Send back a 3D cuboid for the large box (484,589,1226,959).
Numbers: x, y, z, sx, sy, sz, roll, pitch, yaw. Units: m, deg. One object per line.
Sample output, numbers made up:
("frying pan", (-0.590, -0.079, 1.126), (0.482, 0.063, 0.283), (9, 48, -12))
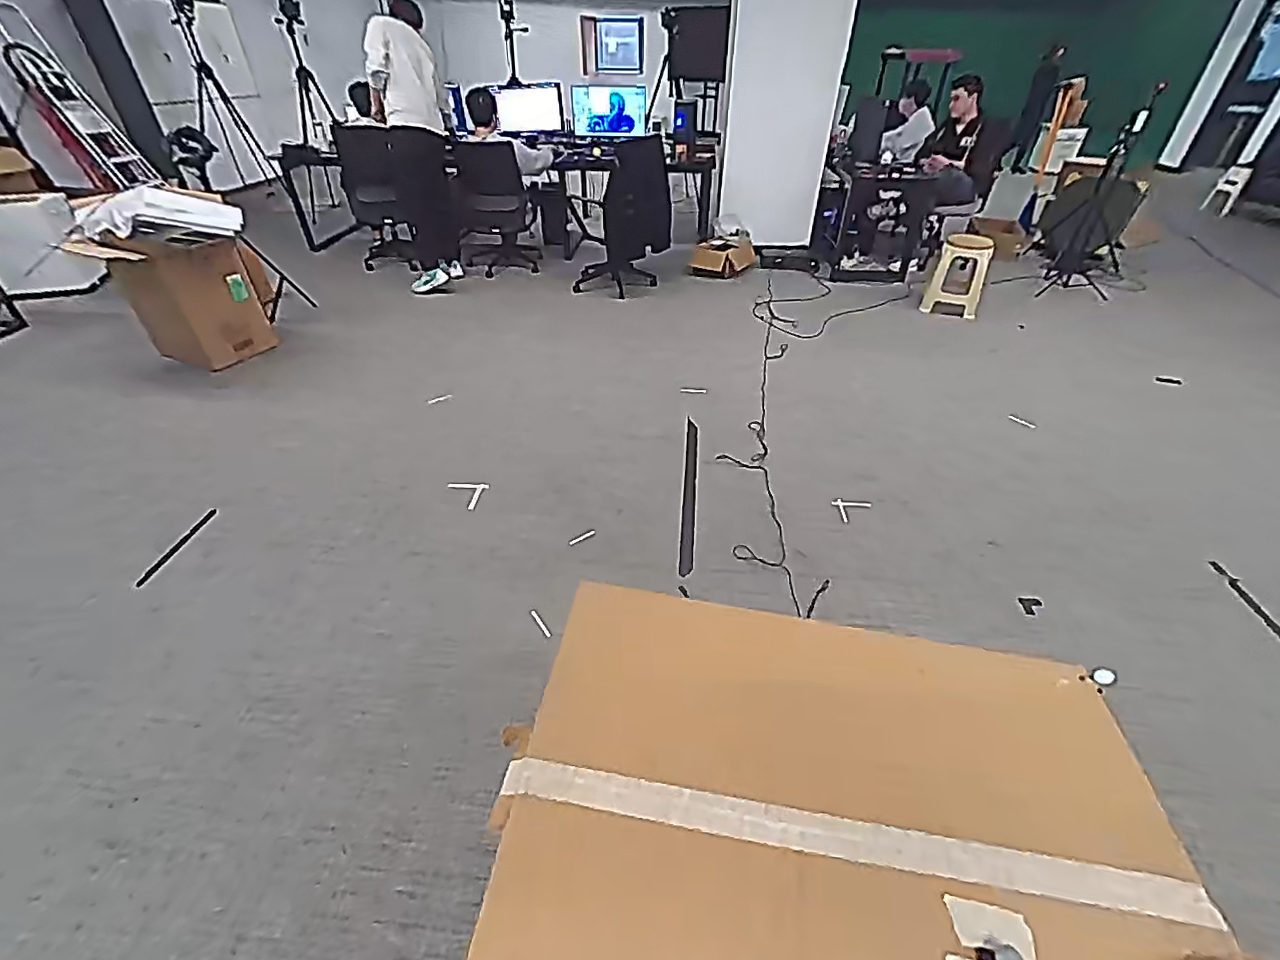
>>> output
("large box", (0.113, 0.329, 0.424), (0.408, 0.320, 0.320), (10, 41, 3))
